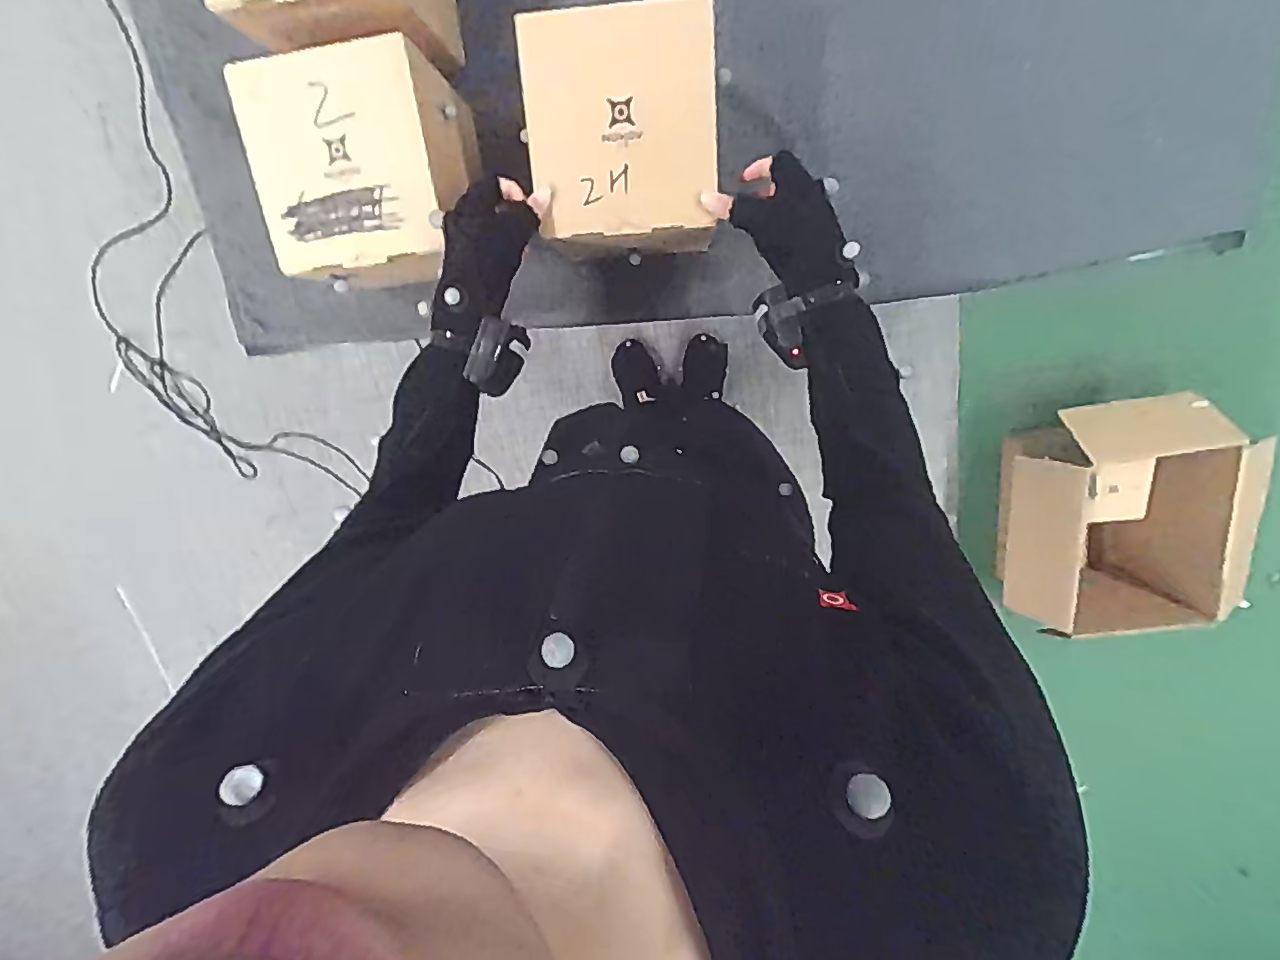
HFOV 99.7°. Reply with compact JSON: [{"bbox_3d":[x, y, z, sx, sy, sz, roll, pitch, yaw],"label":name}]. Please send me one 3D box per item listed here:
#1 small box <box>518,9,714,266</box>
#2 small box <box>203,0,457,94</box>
[{"bbox_3d":[-0.016,-0.324,0.549,0.168,0.176,0.179,-3,106,3],"label":"small box"},{"bbox_3d":[-0.292,-0.504,0.509,0.168,0.176,0.179,-5,107,4],"label":"small box"}]
